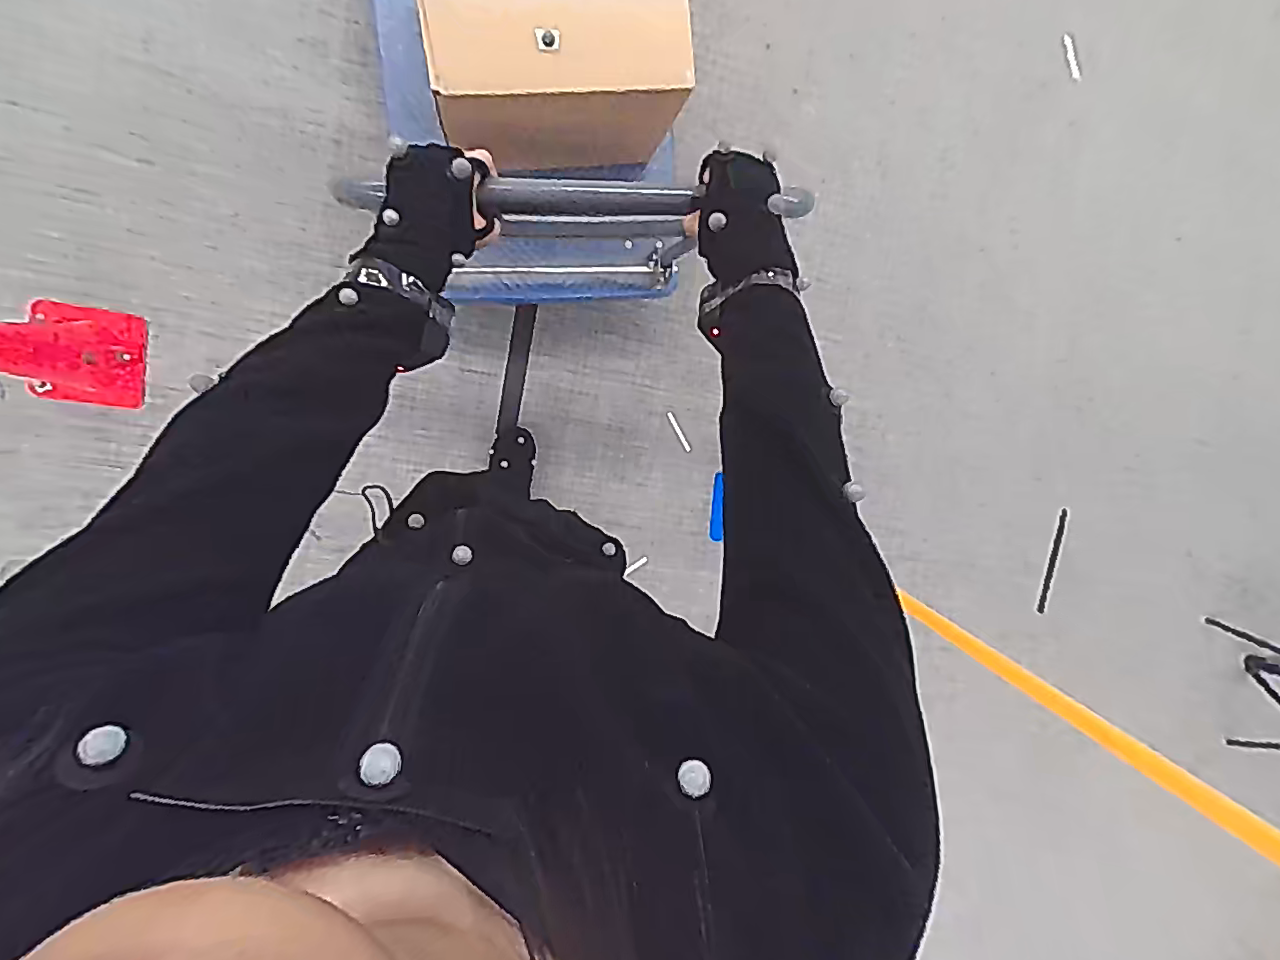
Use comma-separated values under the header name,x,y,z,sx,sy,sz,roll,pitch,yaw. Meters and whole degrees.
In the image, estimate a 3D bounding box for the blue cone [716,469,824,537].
name,x,y,z,sx,sy,sz,roll,pitch,yaw
blue cone,0.346,0.089,1.372,0.193,0.380,0.192,4,97,-15
